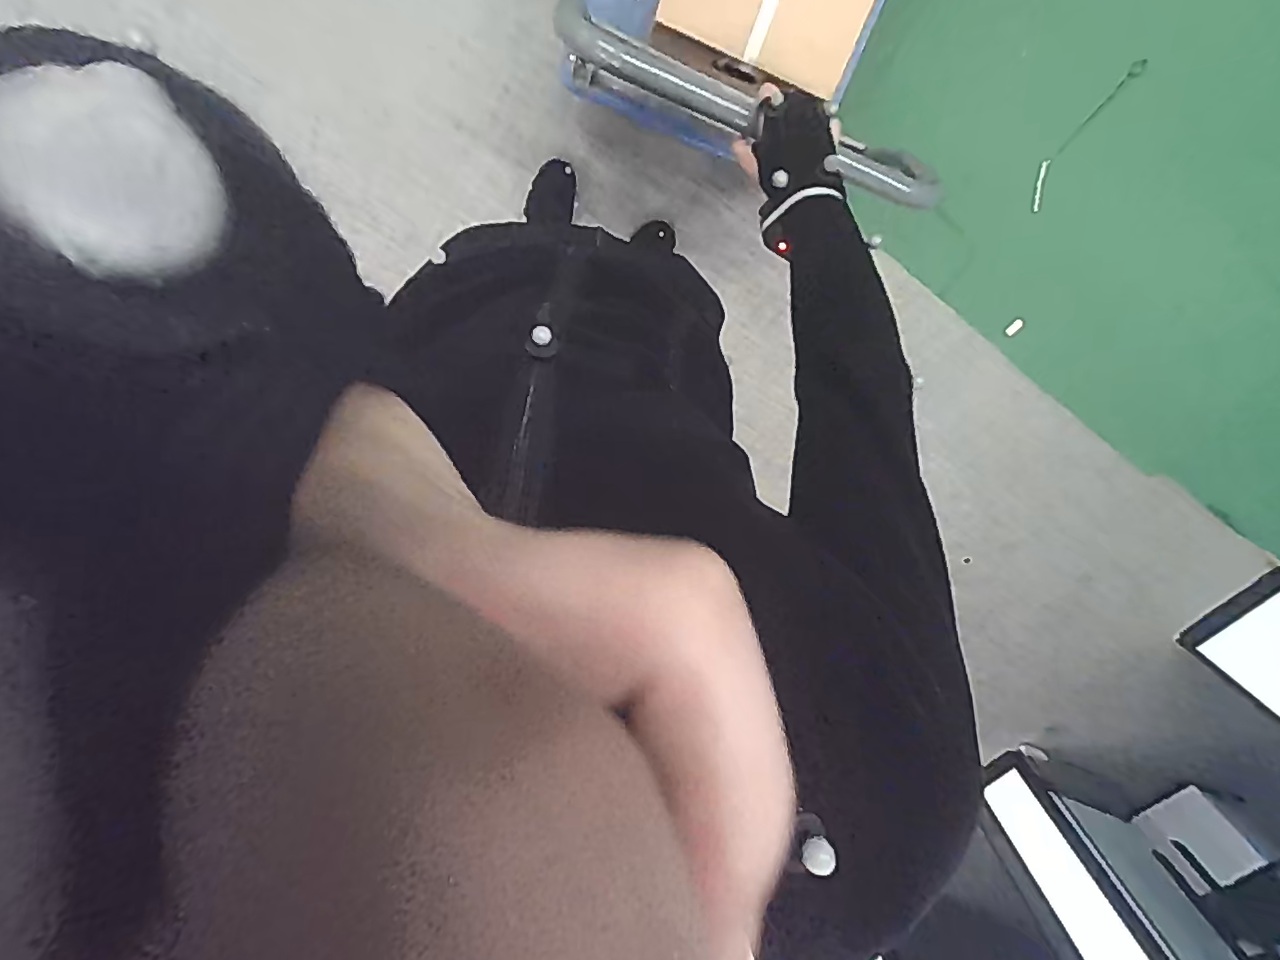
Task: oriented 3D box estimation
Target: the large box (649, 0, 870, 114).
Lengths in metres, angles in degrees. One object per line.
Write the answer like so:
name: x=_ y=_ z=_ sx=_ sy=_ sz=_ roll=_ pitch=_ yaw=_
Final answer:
large box: x=0.225 y=-0.907 z=0.906 sx=0.320 sy=0.320 sz=0.408 roll=15 pitch=118 yaw=-13
